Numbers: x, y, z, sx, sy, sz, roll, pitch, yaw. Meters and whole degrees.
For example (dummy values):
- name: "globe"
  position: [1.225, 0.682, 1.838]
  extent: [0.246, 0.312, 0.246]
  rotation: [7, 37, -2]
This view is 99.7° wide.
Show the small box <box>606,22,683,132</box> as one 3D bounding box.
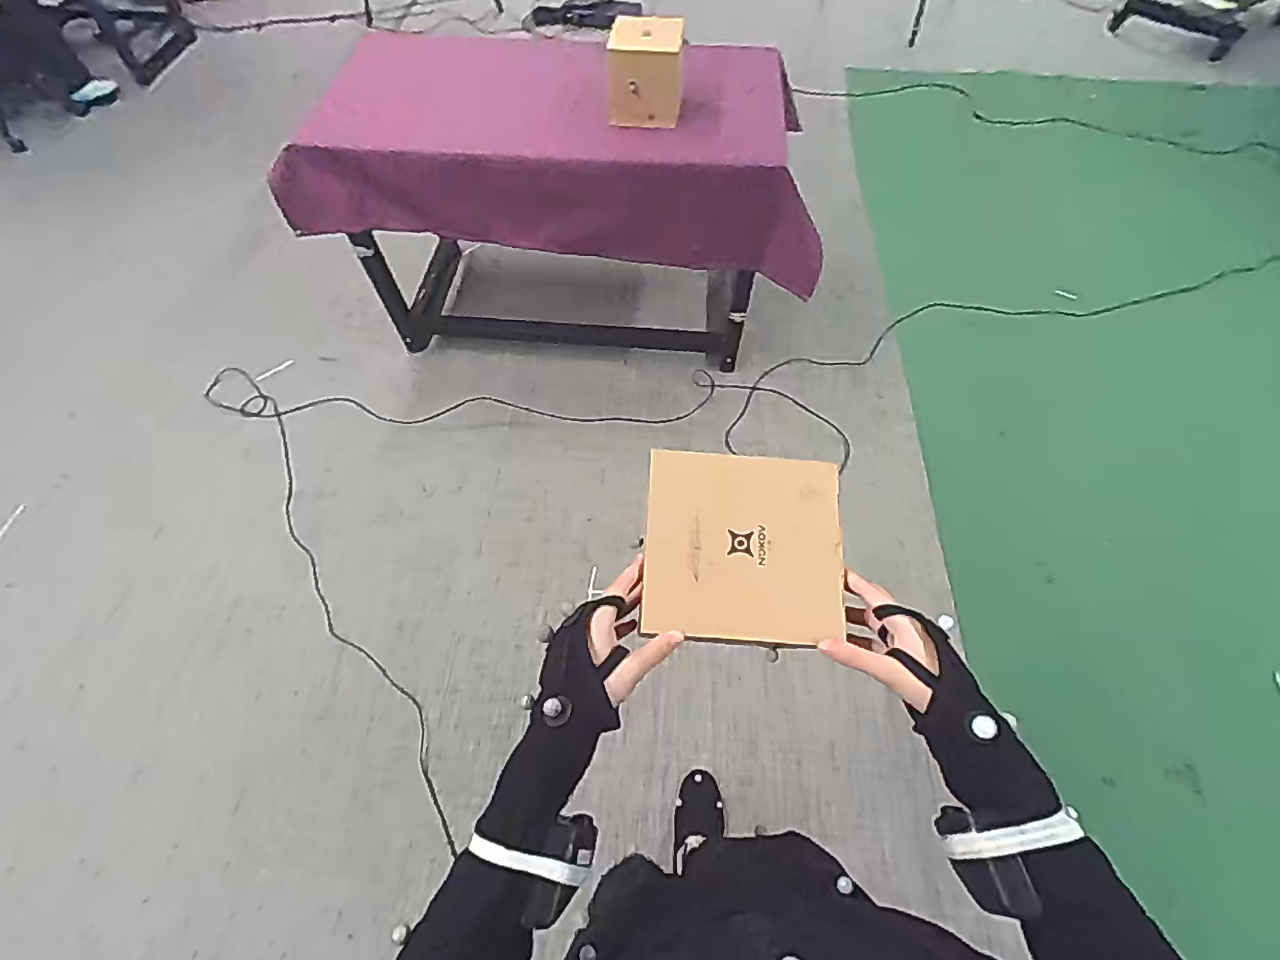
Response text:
- name: "small box"
  position: [0.016, -0.988, 1.331]
  extent: [0.168, 0.176, 0.179]
  rotation: [6, 59, 4]
